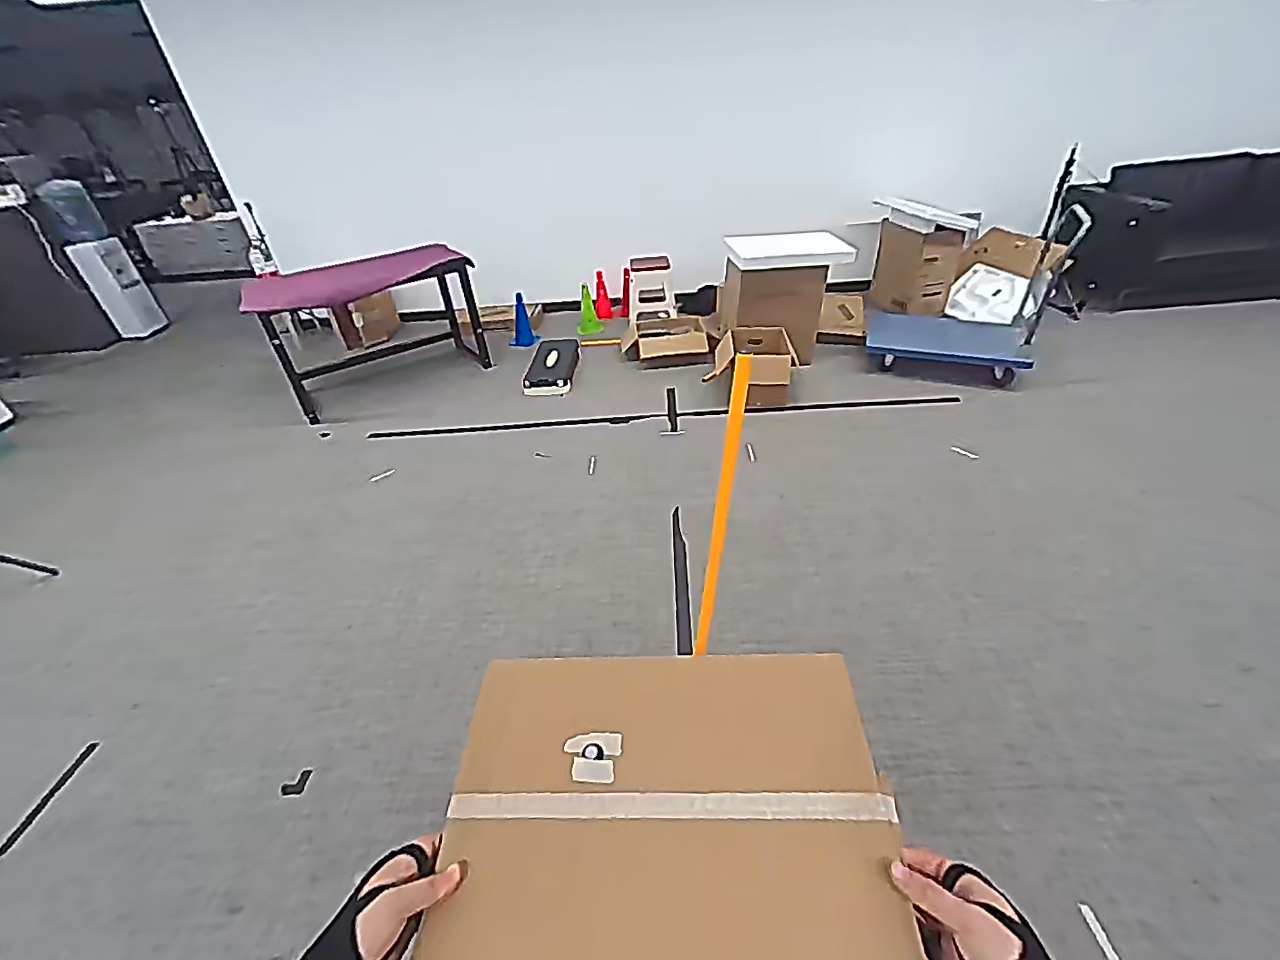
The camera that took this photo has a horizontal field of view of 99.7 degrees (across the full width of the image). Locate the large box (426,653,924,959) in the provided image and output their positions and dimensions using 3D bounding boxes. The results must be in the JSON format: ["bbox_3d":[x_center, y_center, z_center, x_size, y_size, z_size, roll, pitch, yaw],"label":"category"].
[{"bbox_3d":[0.041,0.421,0.605,0.408,0.320,0.320,-4,40,6],"label":"large box"}]
